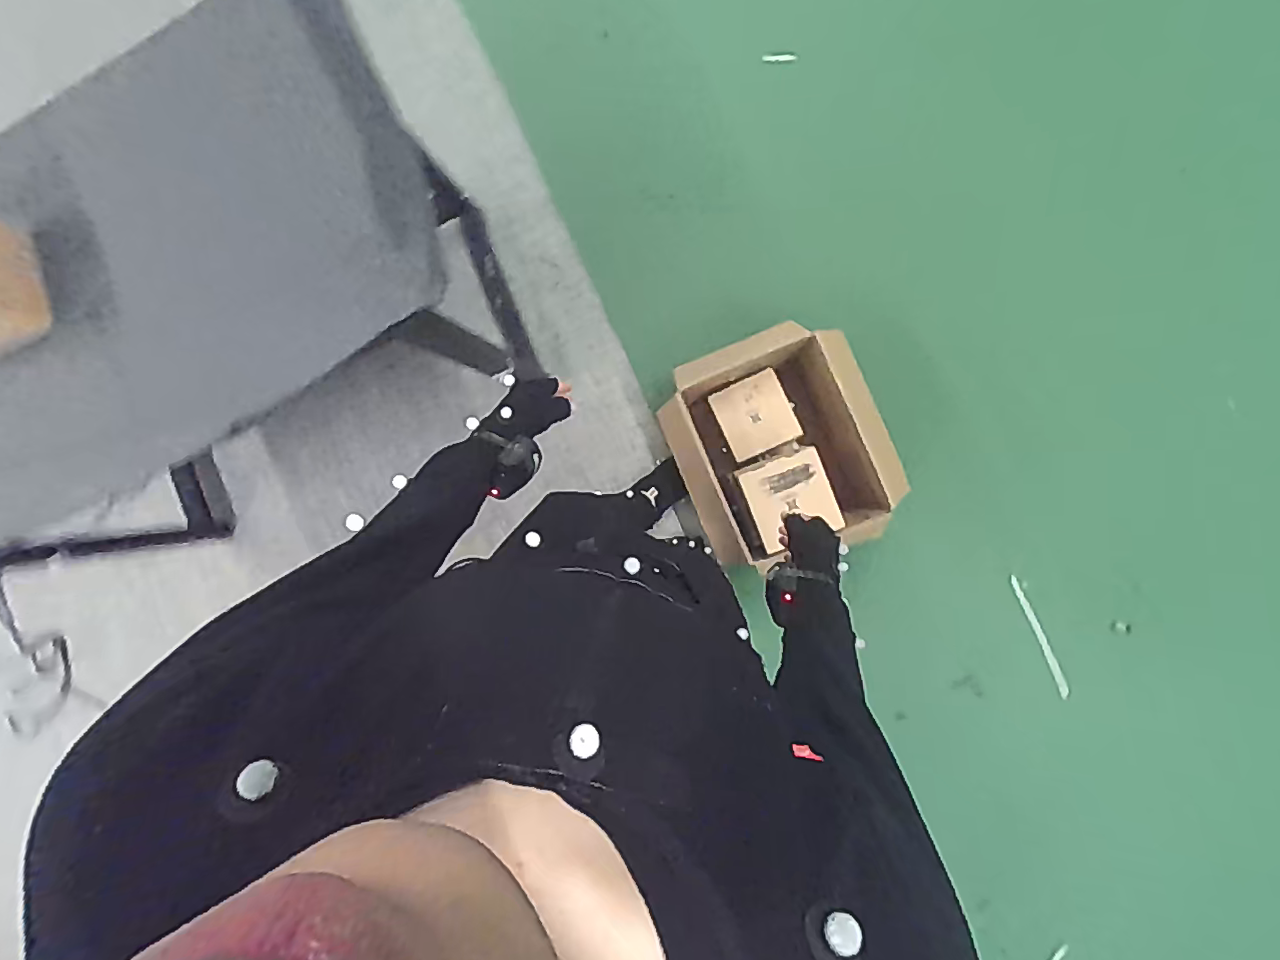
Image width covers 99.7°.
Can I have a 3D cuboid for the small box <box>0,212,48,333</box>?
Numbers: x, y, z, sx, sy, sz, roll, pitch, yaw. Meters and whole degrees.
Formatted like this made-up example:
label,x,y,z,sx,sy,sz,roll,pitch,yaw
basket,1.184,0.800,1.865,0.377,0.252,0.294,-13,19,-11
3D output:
label,x,y,z,sx,sy,sz,roll,pitch,yaw
small box,-1.062,-0.324,0.811,0.168,0.176,0.179,-19,88,8
